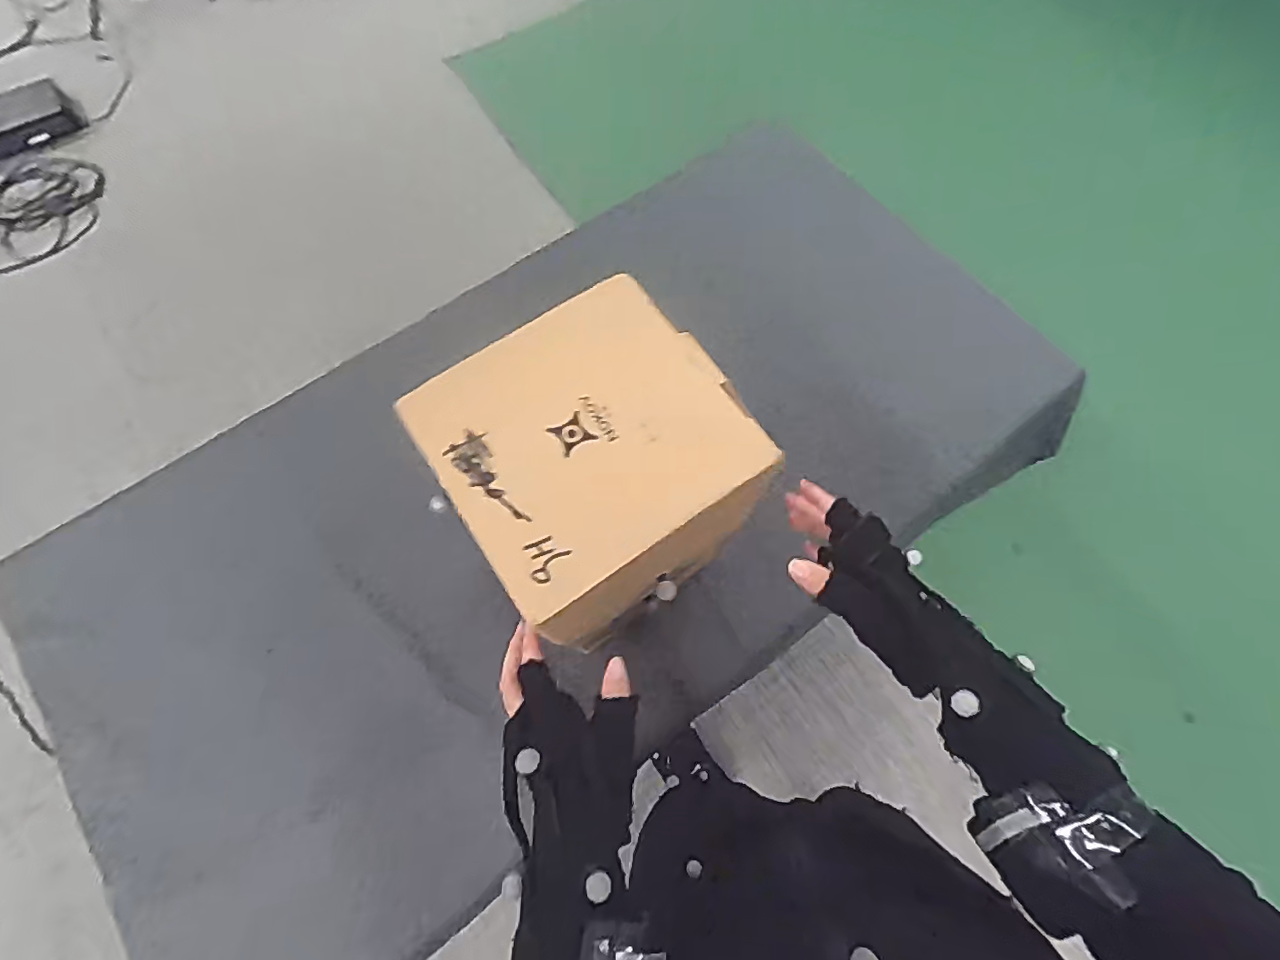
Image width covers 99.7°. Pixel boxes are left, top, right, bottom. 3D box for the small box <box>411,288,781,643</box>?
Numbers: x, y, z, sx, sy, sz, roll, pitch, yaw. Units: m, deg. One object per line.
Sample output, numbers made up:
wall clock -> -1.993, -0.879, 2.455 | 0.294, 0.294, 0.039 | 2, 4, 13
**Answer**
small box -> -0.030, 0.001, 0.407 | 0.179, 0.176, 0.168 | -34, 72, -13
